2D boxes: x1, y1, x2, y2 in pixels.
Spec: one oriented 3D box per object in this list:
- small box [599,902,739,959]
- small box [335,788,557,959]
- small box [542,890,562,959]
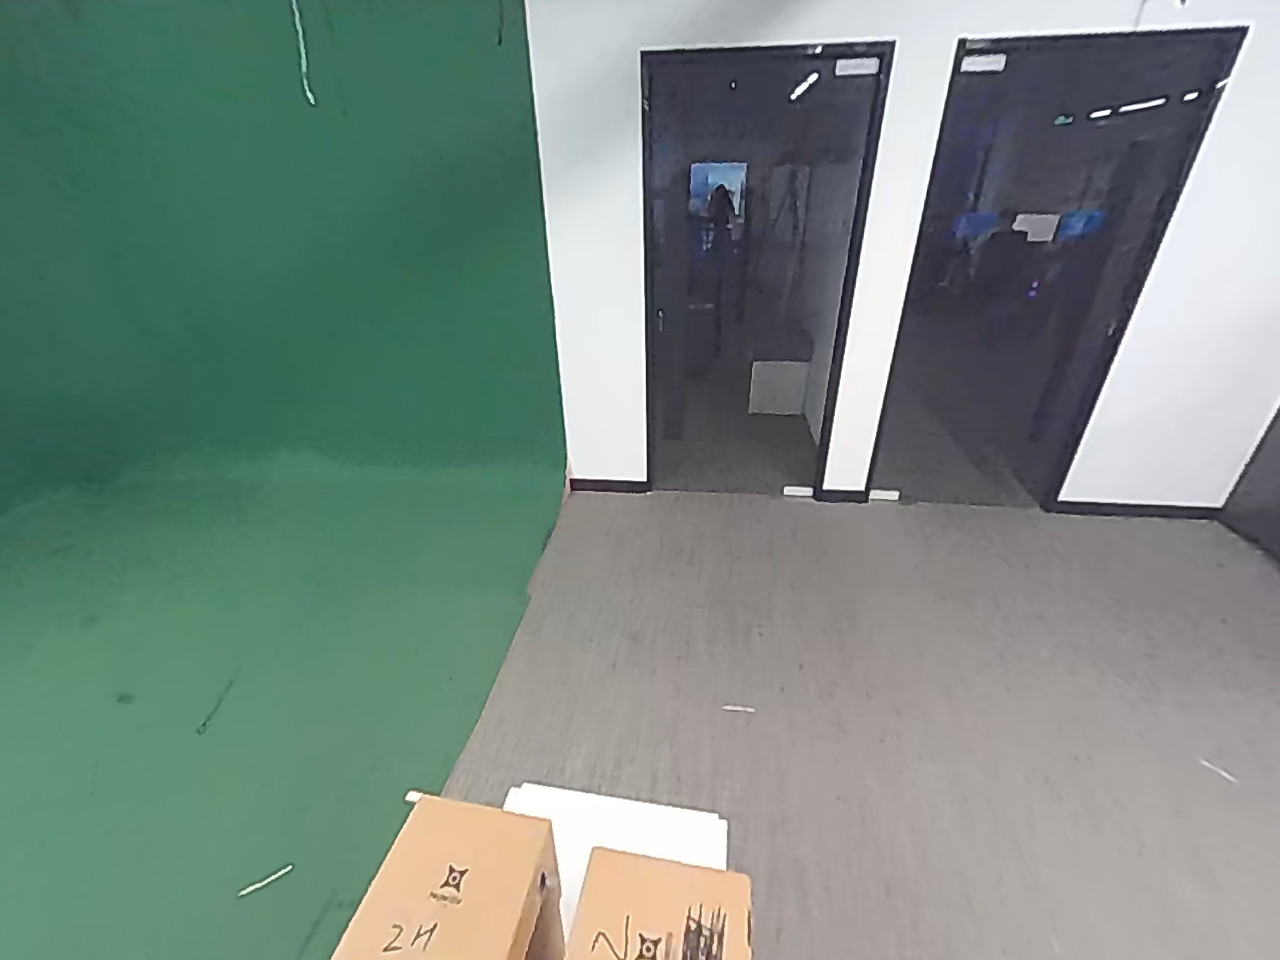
[{"bbox_3d":[0.026,0.658,0.643,0.168,0.176,0.179,4,30,11],"label":"small box"},{"bbox_3d":[-0.197,0.493,0.608,0.168,0.176,0.179,5,29,10],"label":"small box"},{"bbox_3d":[-0.201,0.638,0.685,0.168,0.176,0.179,4,30,9],"label":"small box"}]
